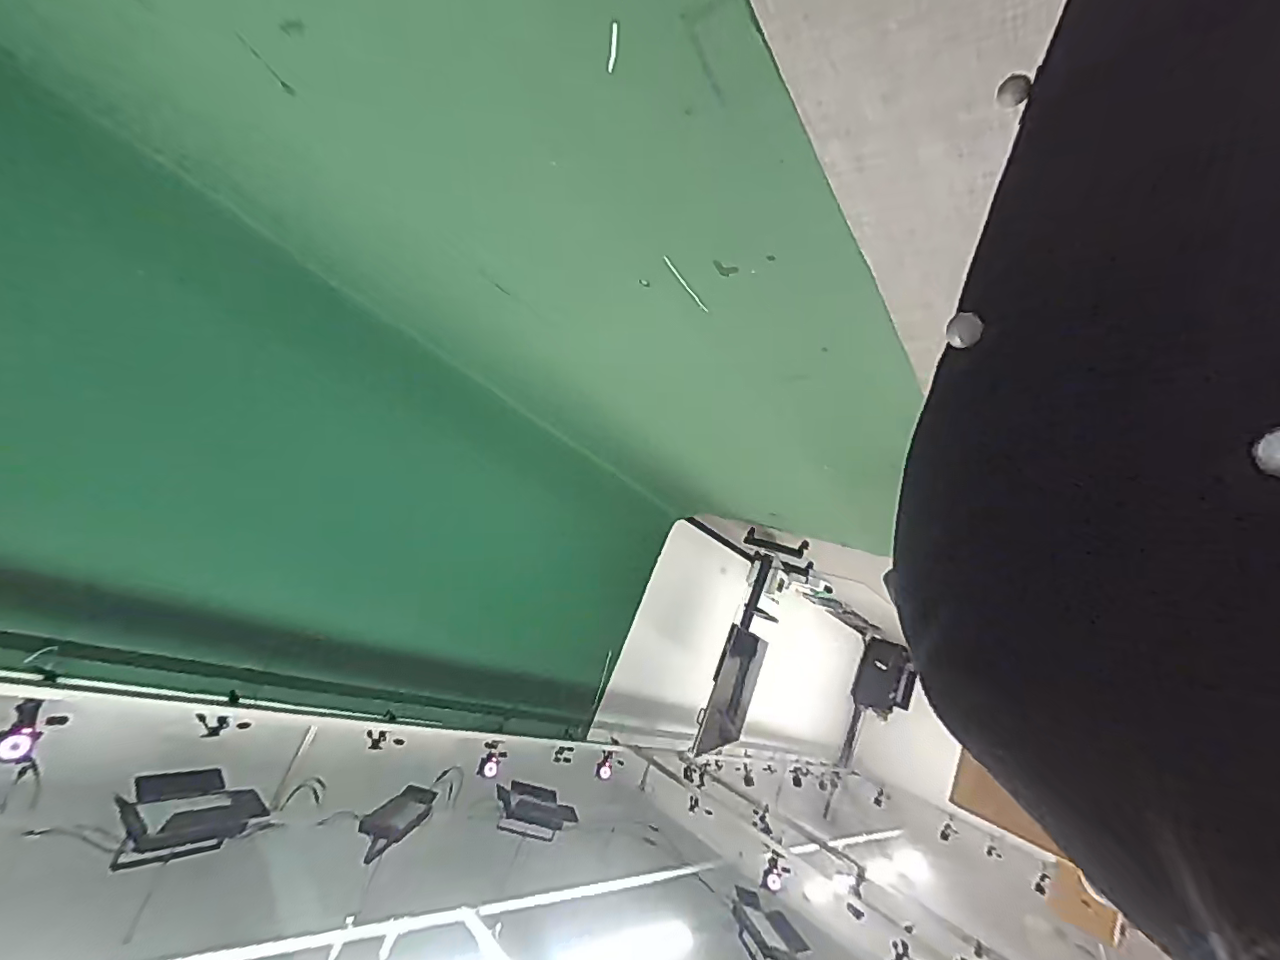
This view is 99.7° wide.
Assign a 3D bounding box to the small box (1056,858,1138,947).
[{"bbox_3d":[1.498,1.371,1.770,0.179,0.176,0.168,8,160,48],"label":"small box"}]
